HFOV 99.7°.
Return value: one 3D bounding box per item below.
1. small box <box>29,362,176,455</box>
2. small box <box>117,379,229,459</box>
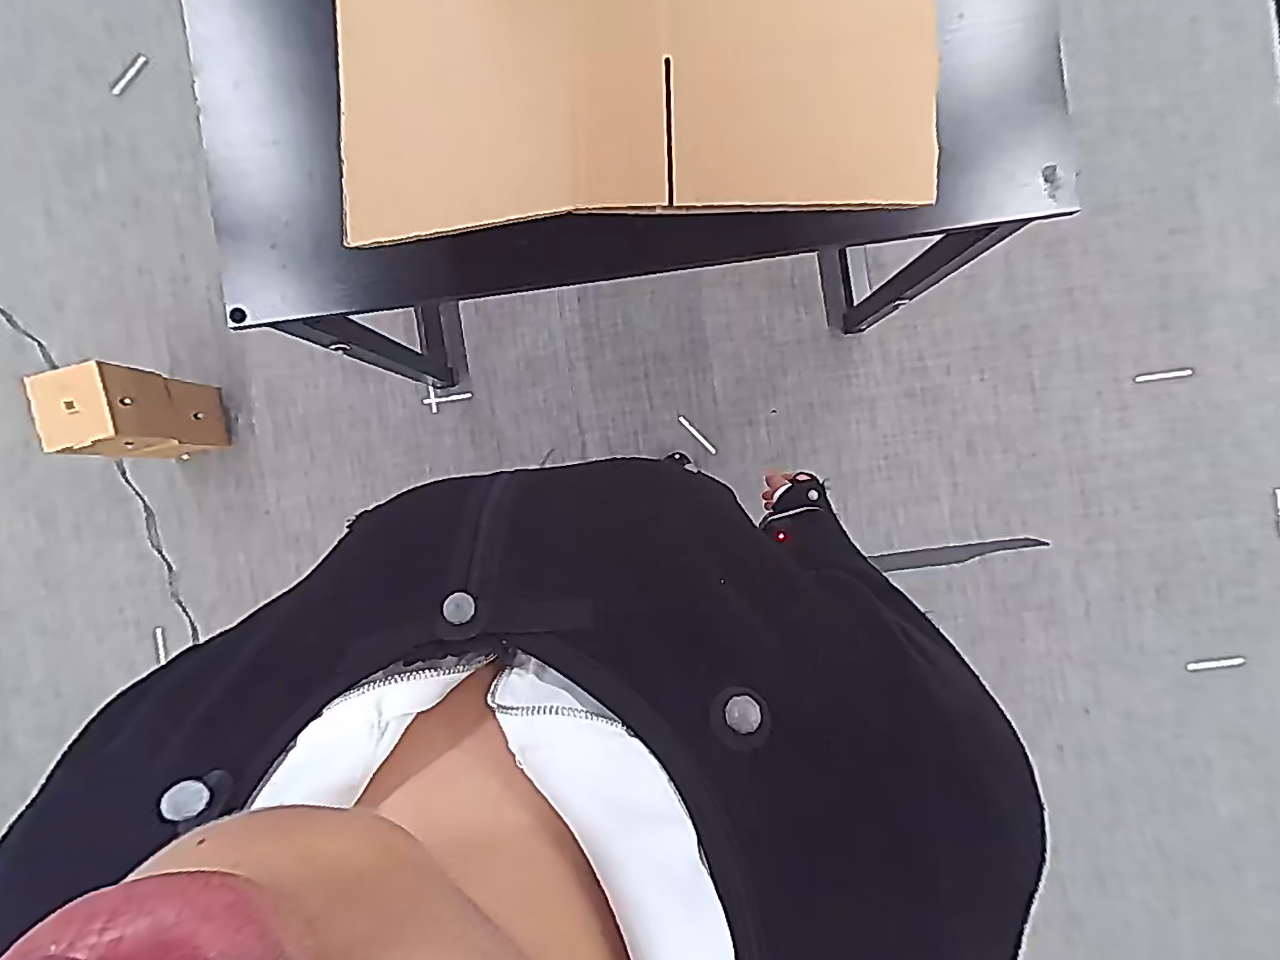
[{"bbox_3d":[-1.248,-0.159,1.270,0.168,0.176,0.179,-15,89,0],"label":"small box"},{"bbox_3d":[-1.243,-0.155,1.432,0.168,0.176,0.179,-11,91,1],"label":"small box"}]
